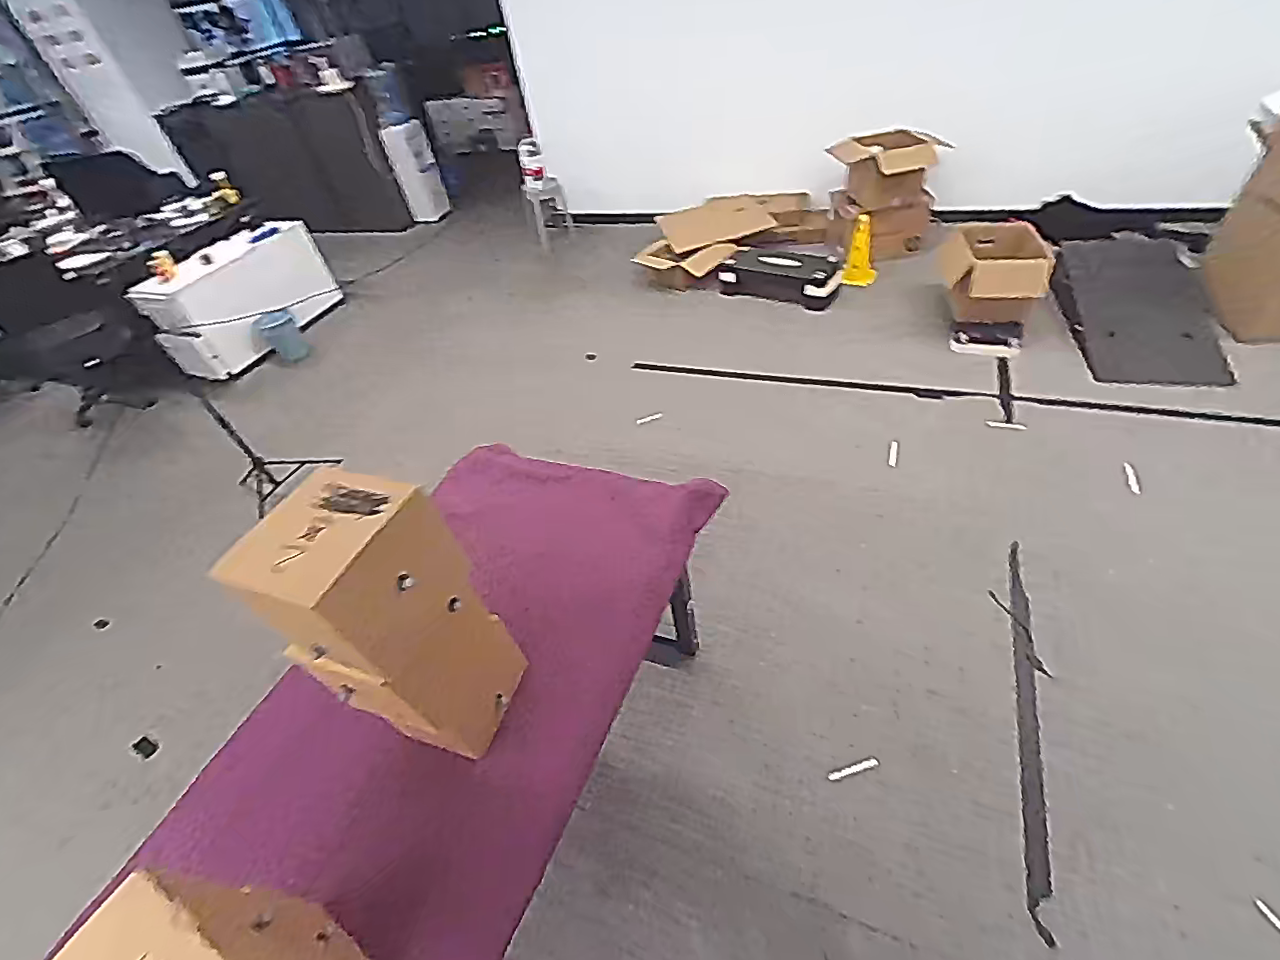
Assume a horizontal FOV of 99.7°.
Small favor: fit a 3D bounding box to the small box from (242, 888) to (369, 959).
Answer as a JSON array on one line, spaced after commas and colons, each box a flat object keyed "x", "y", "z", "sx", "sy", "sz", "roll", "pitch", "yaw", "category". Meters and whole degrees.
[{"x": -0.434, "y": 0.630, "z": 0.631, "sx": 0.179, "sy": 0.176, "sz": 0.168, "roll": 18, "pitch": 52, "yaw": 26, "category": "small box"}]

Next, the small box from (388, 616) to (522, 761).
[{"x": -0.318, "y": 0.334, "z": 0.904, "sx": 0.168, "sy": 0.176, "sz": 0.179, "roll": 7, "pitch": 47, "yaw": 20, "category": "small box"}]

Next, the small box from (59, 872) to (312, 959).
[{"x": -0.451, "y": 0.521, "z": 0.508, "sx": 0.168, "sy": 0.176, "sz": 0.179, "roll": 16, "pitch": 51, "yaw": 25, "category": "small box"}]

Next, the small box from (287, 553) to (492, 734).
[{"x": -0.340, "y": 0.234, "z": 0.775, "sx": 0.168, "sy": 0.176, "sz": 0.179, "roll": 7, "pitch": 47, "yaw": 20, "category": "small box"}]
